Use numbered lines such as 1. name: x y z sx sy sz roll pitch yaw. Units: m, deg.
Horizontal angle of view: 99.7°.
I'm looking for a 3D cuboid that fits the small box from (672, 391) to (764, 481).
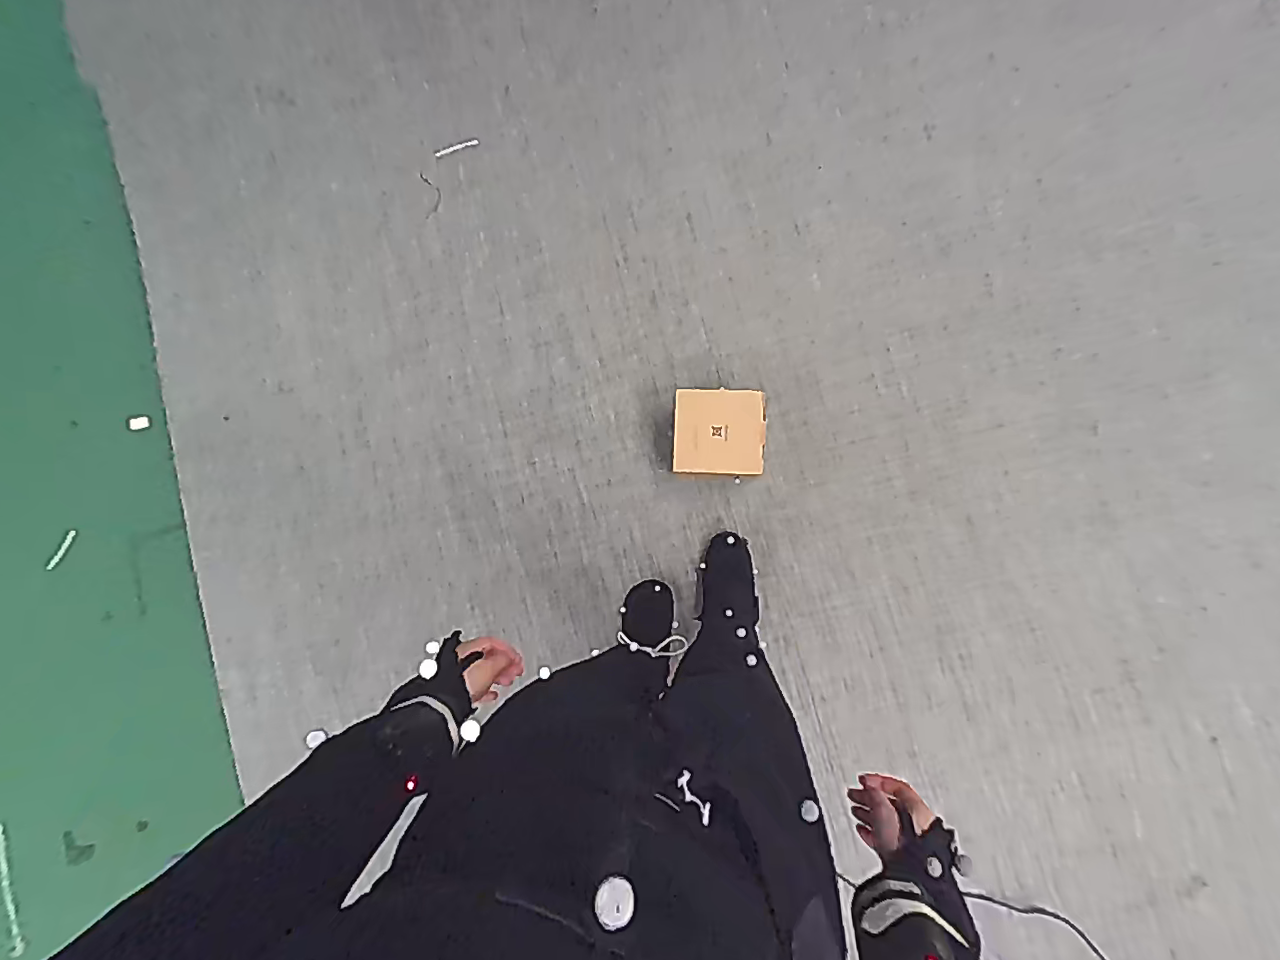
1. small box: 0.159 -0.087 1.130 0.179 0.176 0.168 1 86 6
